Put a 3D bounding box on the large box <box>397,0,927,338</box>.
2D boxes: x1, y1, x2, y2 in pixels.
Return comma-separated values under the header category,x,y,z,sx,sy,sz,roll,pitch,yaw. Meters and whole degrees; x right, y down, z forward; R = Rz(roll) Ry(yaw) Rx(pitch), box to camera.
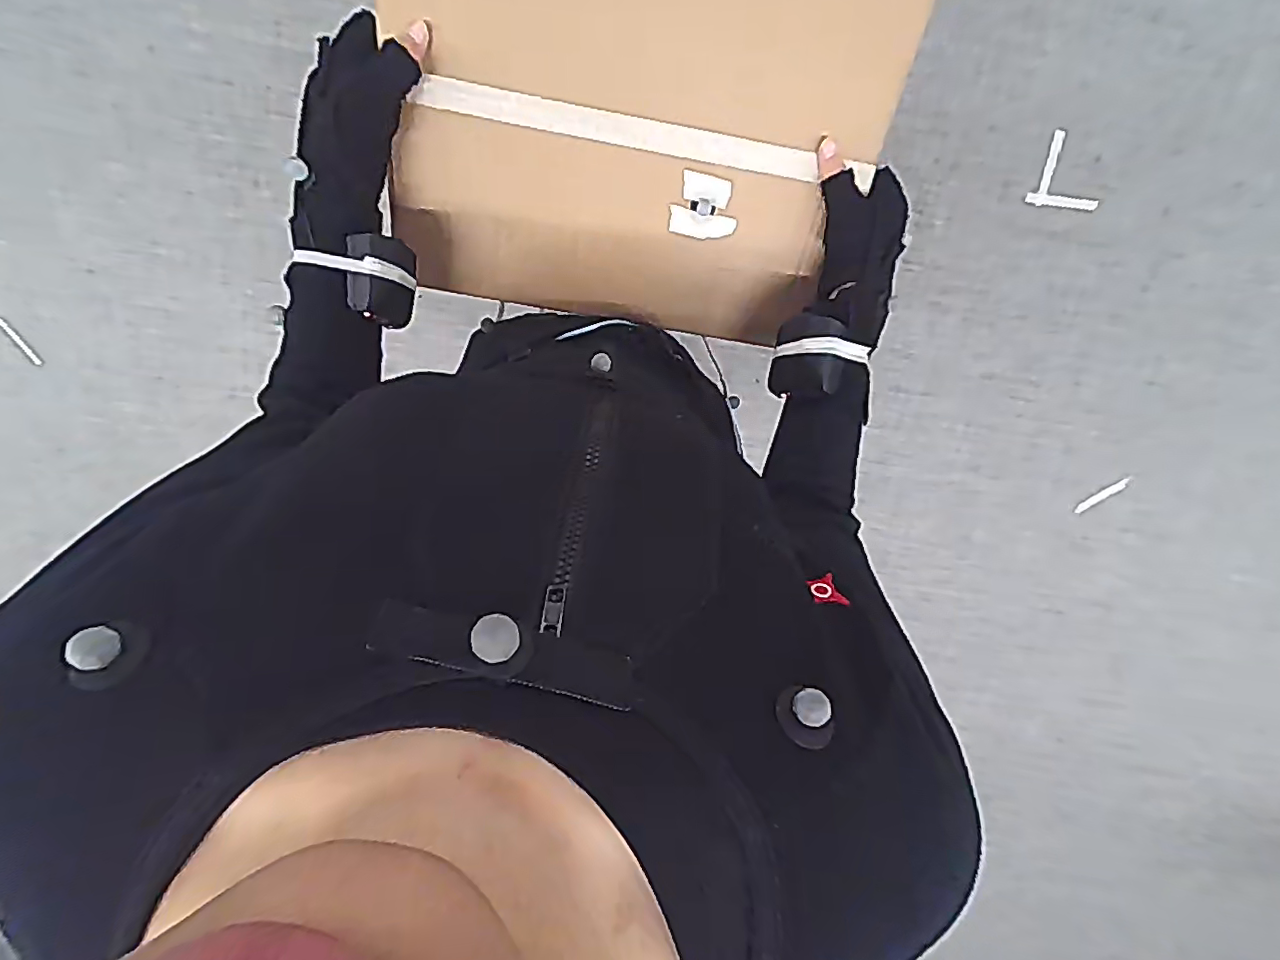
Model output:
category,x,y,z,sx,sy,sz,roll,pitch,yaw
large box,0.000,-0.376,0.577,0.408,0.320,0.320,8,123,-6
